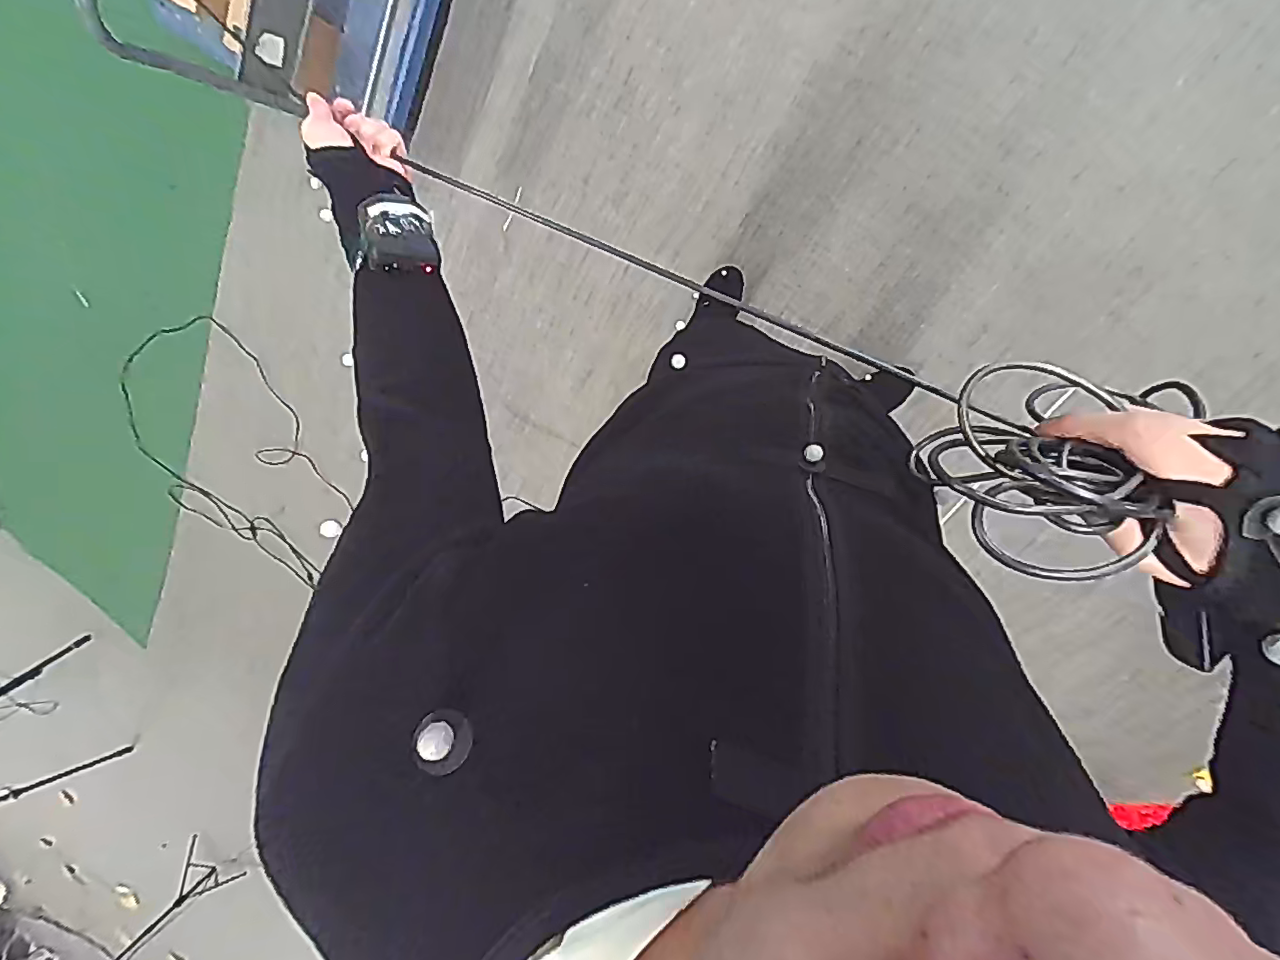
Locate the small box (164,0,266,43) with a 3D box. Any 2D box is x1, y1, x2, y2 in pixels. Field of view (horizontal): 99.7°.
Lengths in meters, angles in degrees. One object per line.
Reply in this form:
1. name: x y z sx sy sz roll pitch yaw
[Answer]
1. small box: -1.117 -1.291 1.413 0.179 0.176 0.168 31 114 7
